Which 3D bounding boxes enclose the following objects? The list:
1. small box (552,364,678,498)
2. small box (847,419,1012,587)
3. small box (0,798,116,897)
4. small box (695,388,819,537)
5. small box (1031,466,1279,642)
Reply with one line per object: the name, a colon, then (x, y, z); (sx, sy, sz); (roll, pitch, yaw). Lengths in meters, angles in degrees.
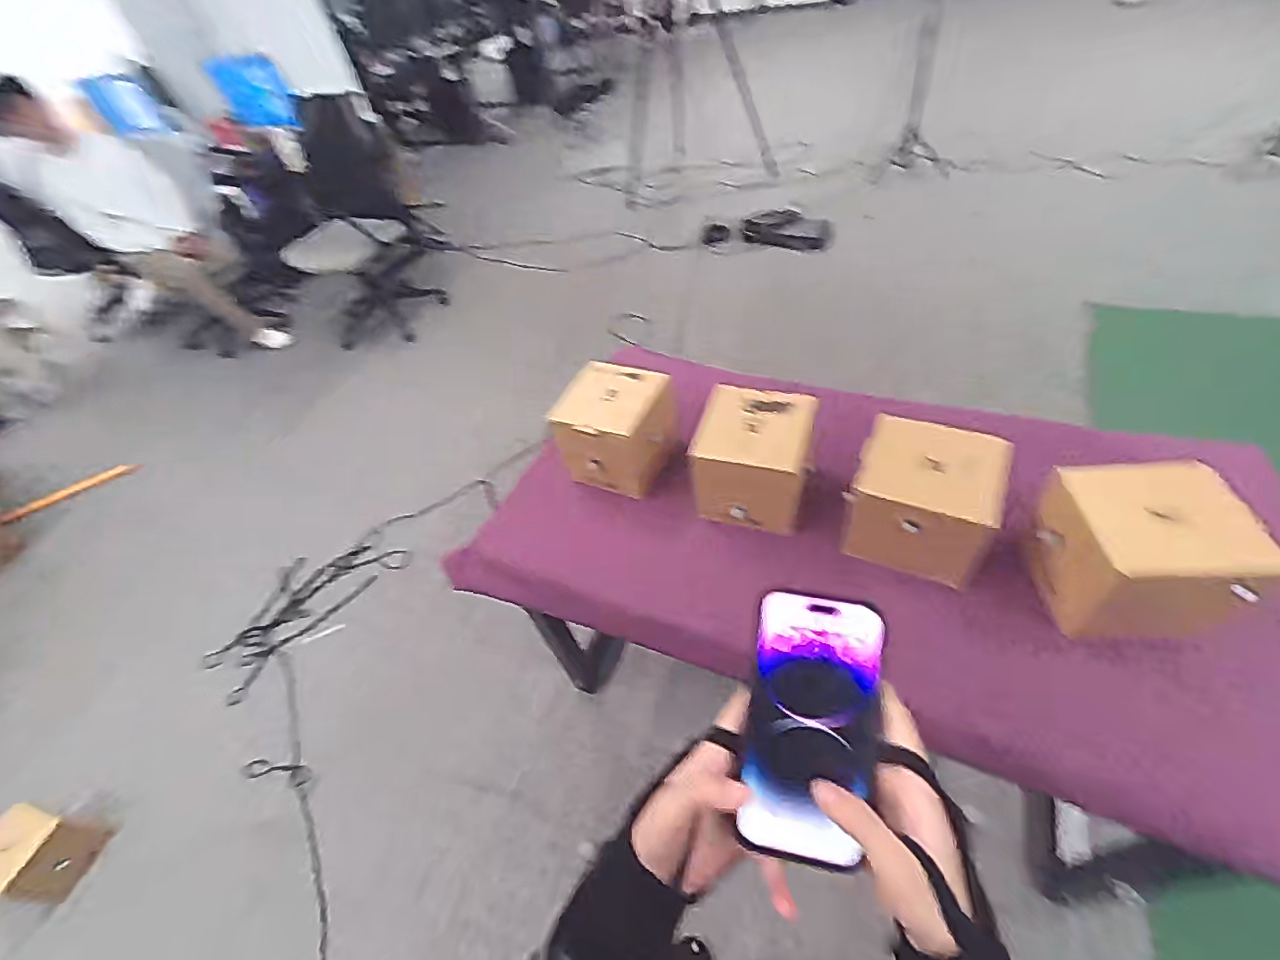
small box: (-0.036, -0.092, 1.036); (0.168, 0.176, 0.179); (15, 54, 24)
small box: (0.429, 0.036, 0.820); (0.179, 0.176, 0.168); (18, 55, 25)
small box: (-1.540, 0.954, 1.400); (0.179, 0.176, 0.168); (7, 51, 18)
small box: (0.202, -0.031, 0.929); (0.168, 0.176, 0.179); (11, 52, 21)
small box: (0.654, 0.101, 0.712); (0.179, 0.176, 0.168); (-2, 47, 10)
